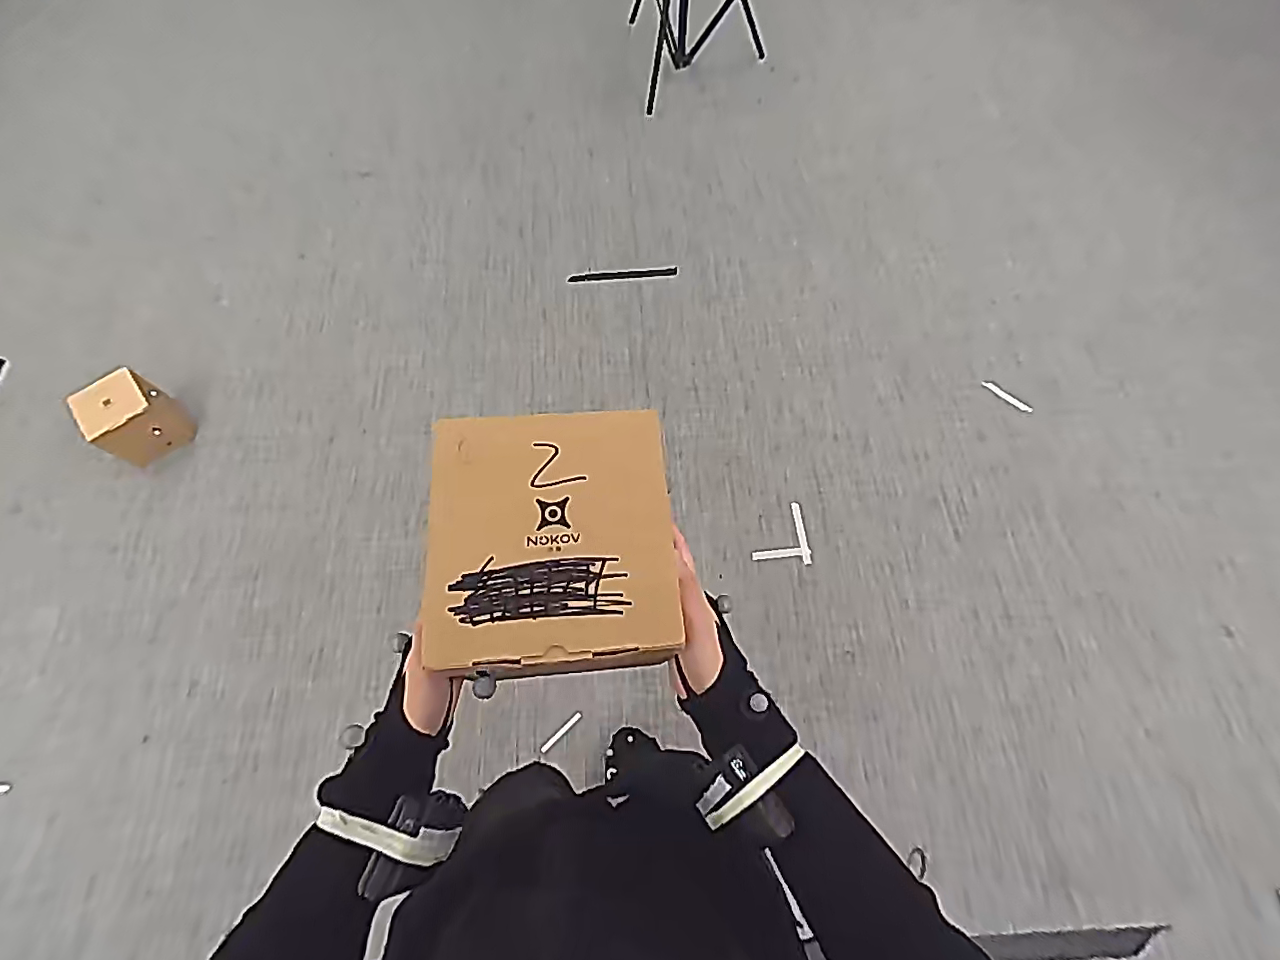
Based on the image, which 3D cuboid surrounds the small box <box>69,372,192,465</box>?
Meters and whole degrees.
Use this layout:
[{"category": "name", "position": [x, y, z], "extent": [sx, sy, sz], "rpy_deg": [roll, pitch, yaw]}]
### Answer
[{"category": "small box", "position": [-1.435, -0.165, 1.536], "extent": [0.168, 0.176, 0.179], "rpy_deg": [-39, 71, -15]}]
